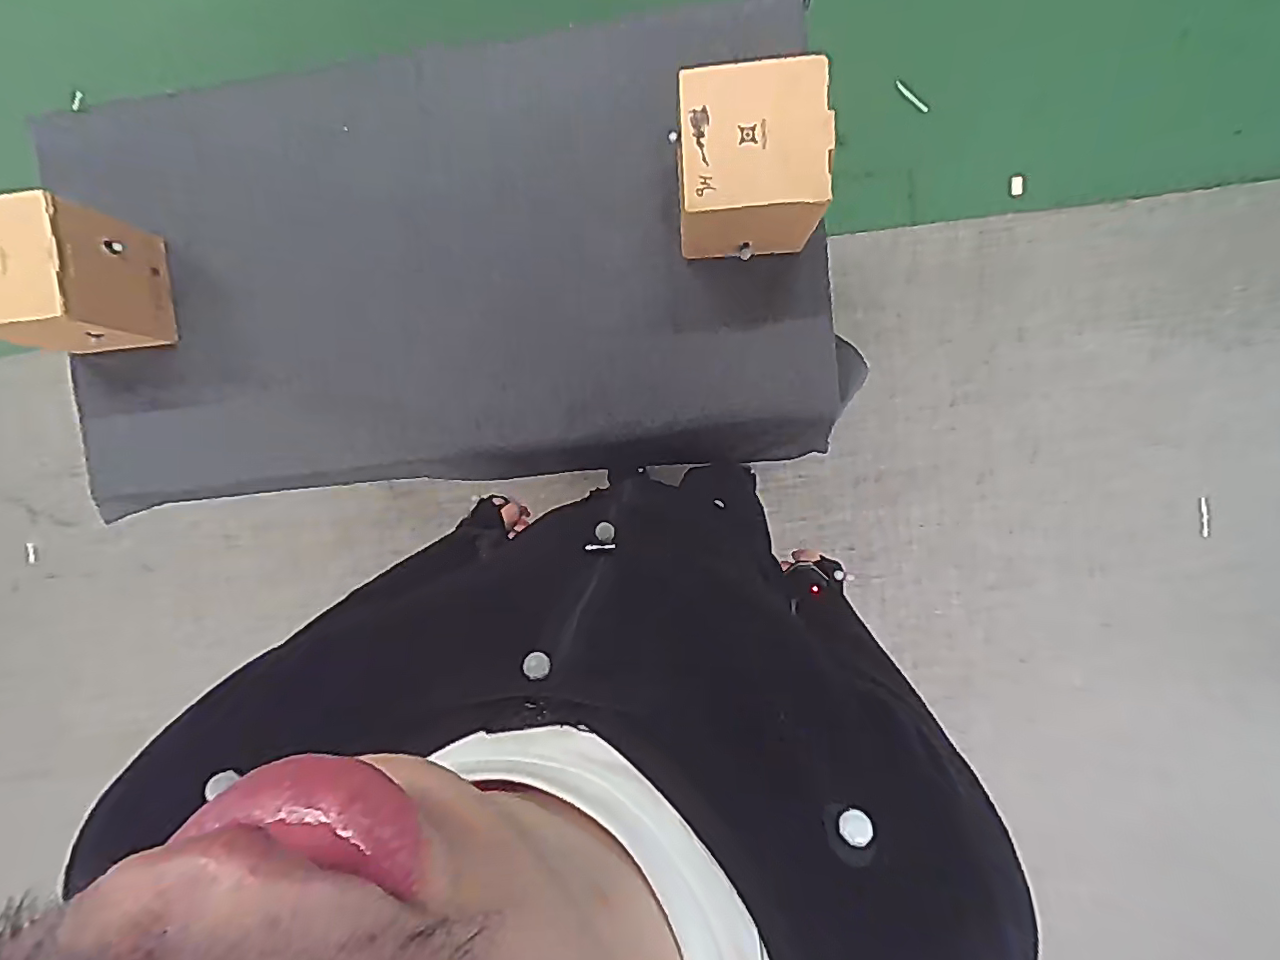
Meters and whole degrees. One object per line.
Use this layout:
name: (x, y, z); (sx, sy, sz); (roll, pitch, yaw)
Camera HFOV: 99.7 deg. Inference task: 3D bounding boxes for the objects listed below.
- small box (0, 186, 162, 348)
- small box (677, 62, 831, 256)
small box: (-0.829, -0.290, 0.769); (0.179, 0.176, 0.168); (-3, 91, 3)
small box: (0.141, -0.413, 0.723); (0.179, 0.176, 0.168); (-2, 94, 3)
